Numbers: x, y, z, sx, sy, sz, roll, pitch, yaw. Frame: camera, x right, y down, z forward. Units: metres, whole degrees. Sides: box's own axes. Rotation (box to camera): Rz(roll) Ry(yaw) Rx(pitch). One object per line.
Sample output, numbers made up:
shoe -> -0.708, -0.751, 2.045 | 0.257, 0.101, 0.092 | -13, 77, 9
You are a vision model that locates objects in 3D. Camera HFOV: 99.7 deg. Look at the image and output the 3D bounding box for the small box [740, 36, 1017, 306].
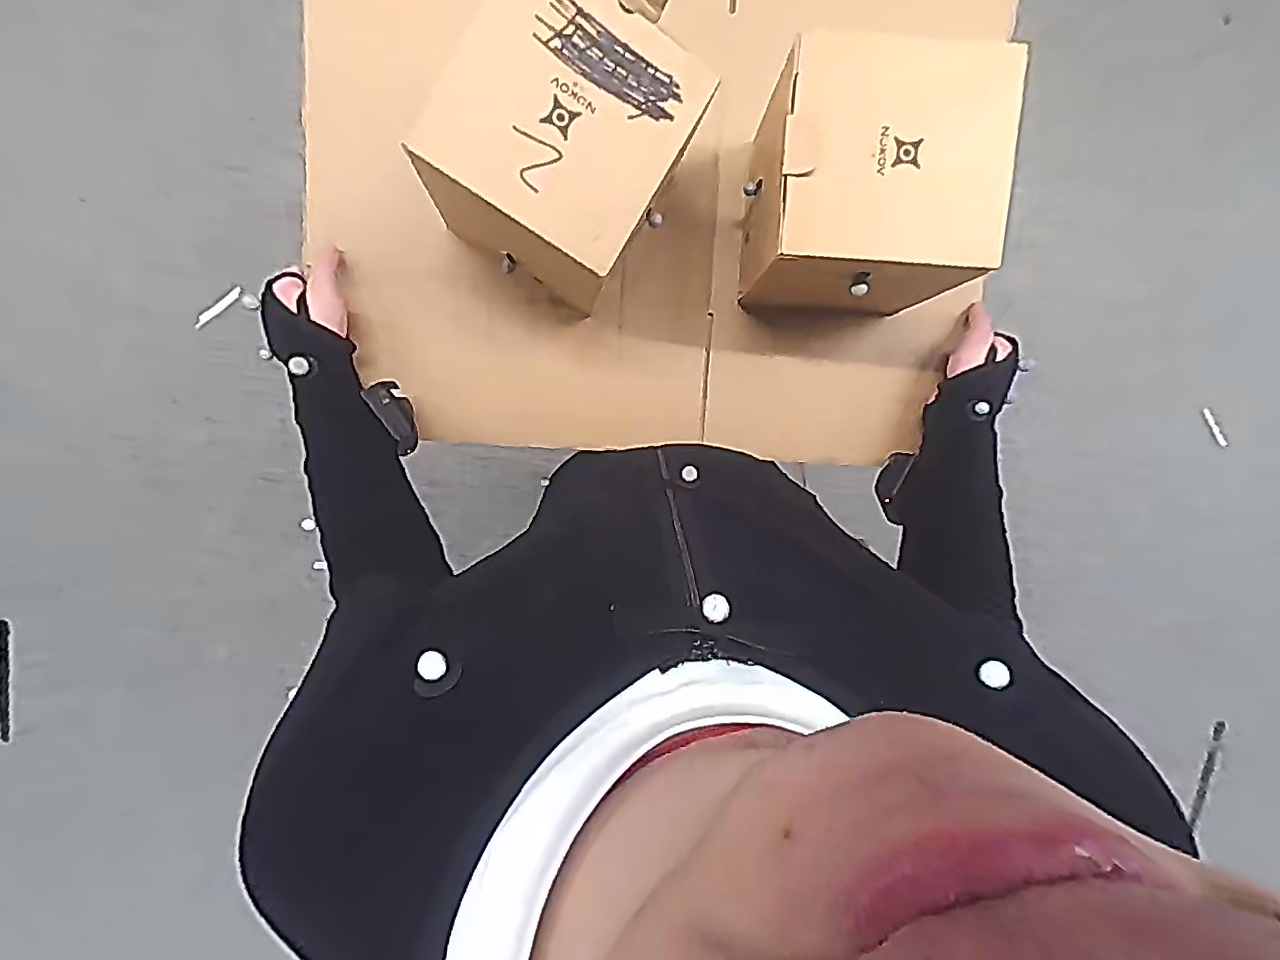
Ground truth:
small box -> 0.201, -0.265, 0.507 | 0.179, 0.176, 0.168 | 3, 96, 0
